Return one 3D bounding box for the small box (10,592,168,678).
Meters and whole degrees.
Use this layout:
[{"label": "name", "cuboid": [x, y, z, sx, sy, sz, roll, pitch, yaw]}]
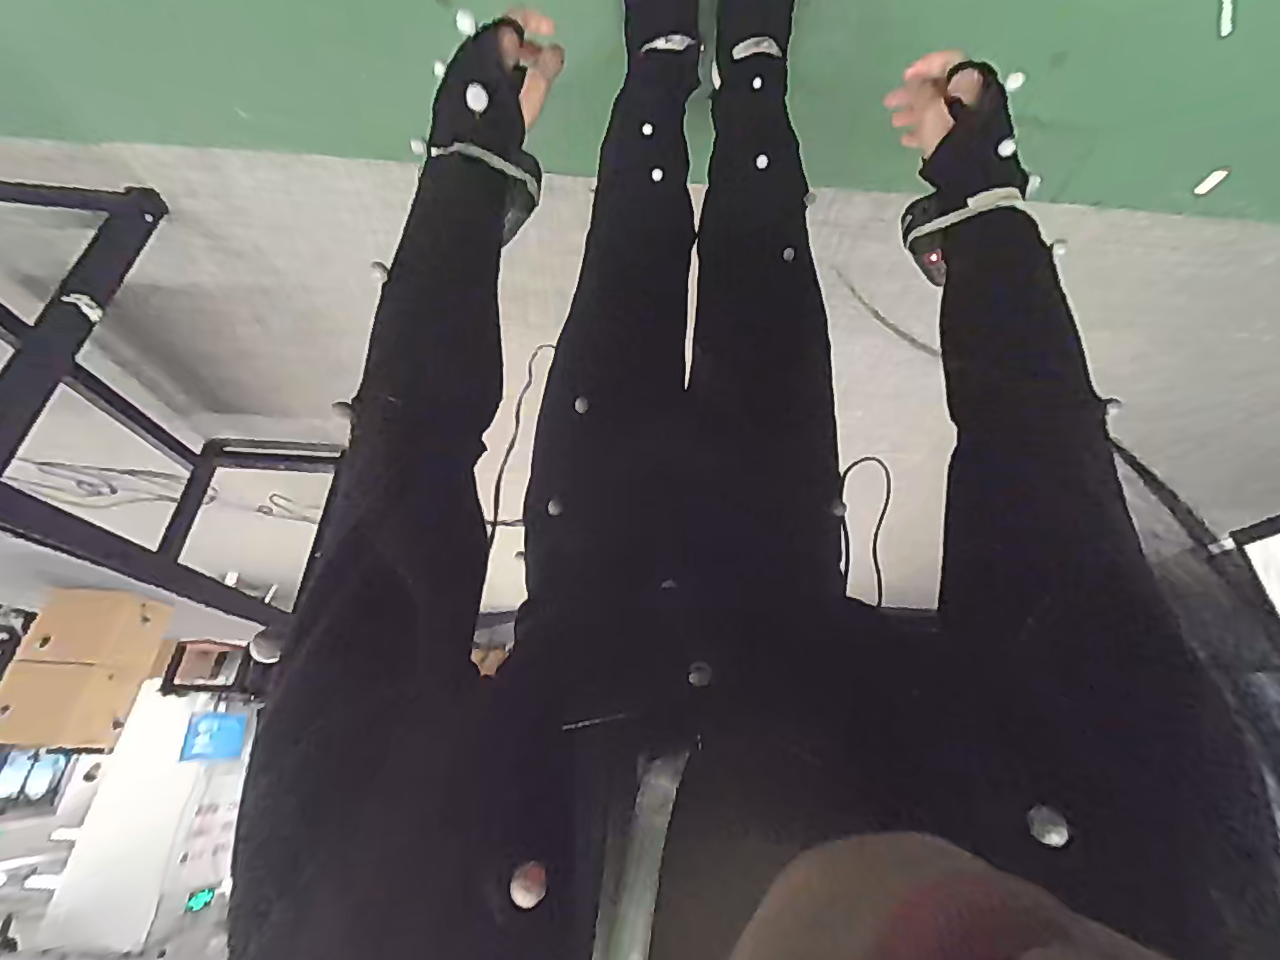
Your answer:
[{"label": "small box", "cuboid": [-1.300, 0.371, 1.294, 0.179, 0.176, 0.168, 3, 154, -3]}]
